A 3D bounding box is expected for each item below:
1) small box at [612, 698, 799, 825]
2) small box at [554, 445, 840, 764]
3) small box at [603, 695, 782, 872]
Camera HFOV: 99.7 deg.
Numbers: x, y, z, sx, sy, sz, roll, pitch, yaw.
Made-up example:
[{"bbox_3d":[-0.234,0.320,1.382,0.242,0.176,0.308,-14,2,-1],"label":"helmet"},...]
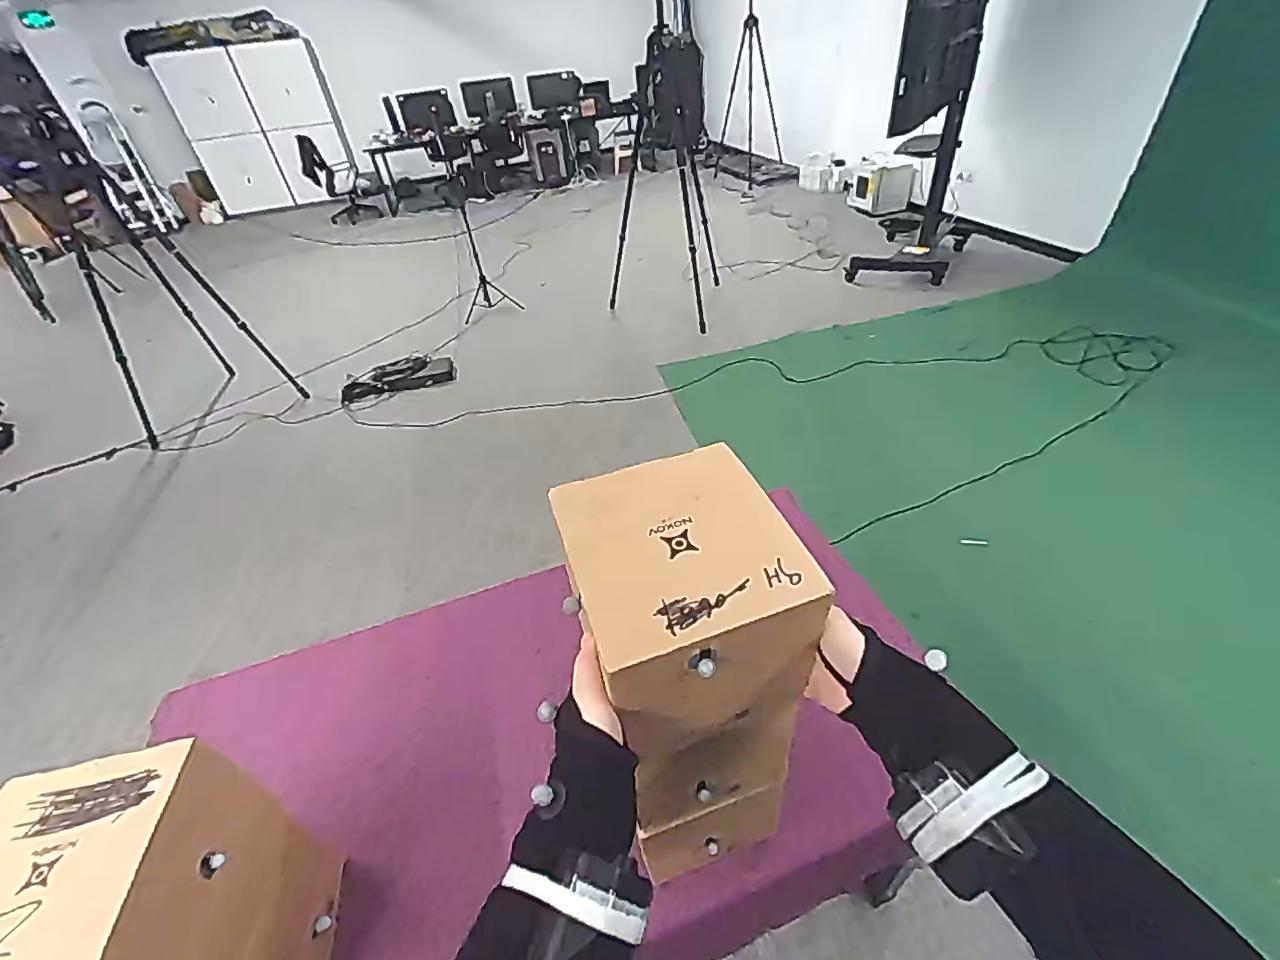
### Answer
[{"bbox_3d":[0.049,0.231,0.587,0.168,0.176,0.179,-16,42,-10],"label":"small box"},{"bbox_3d":[0.035,0.101,0.458,0.168,0.176,0.179,-16,45,-12],"label":"small box"},{"bbox_3d":[0.063,0.361,0.685,0.168,0.176,0.179,-16,40,-10],"label":"small box"}]
